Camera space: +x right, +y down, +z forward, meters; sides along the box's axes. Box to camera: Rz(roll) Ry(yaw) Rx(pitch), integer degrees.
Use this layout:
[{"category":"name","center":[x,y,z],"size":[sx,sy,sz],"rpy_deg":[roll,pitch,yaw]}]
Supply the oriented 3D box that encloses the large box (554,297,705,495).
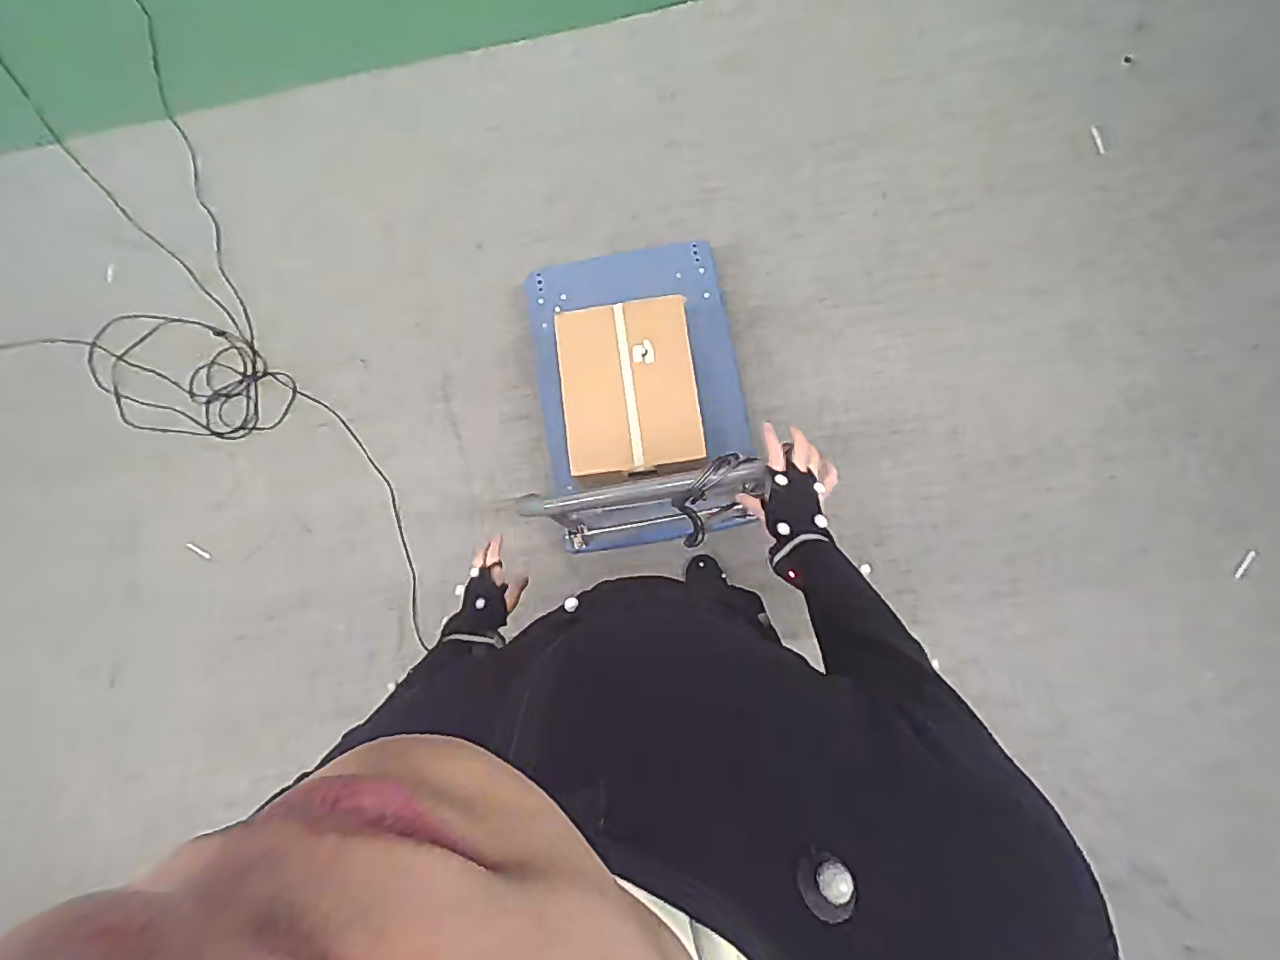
[{"category":"large box","center":[-0.021,-0.198,1.406],"size":[0.320,0.320,0.408],"rpy_deg":[-8,79,2]}]
